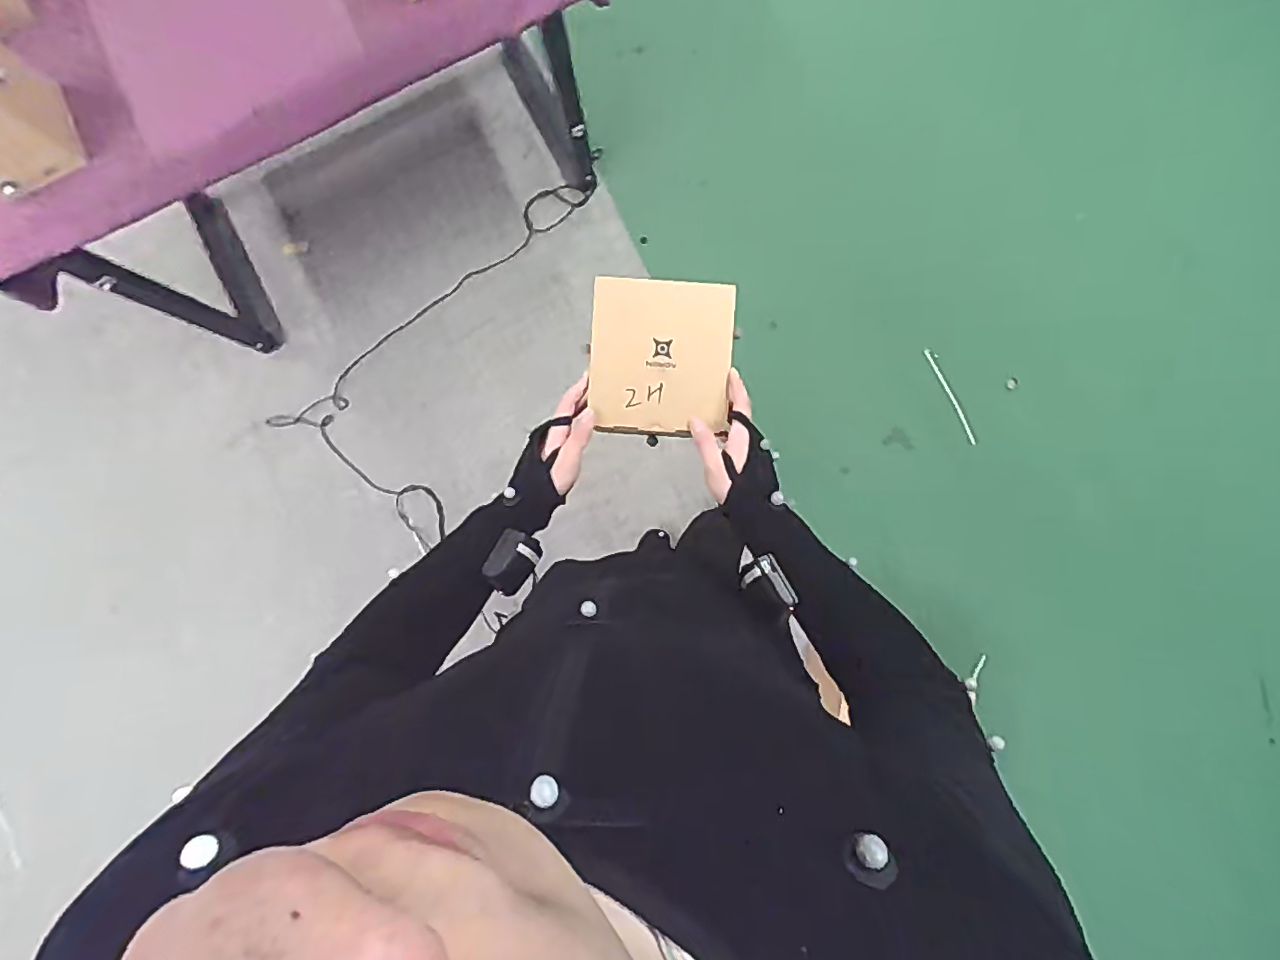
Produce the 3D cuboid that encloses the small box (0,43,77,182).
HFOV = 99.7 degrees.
[{"bbox_3d":[-1.108,-0.630,0.893,0.168,0.176,0.179,-26,86,0],"label":"small box"}]

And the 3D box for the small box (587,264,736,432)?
[{"bbox_3d":[0.022,-0.158,0.699,0.168,0.176,0.179,3,93,-1],"label":"small box"}]
